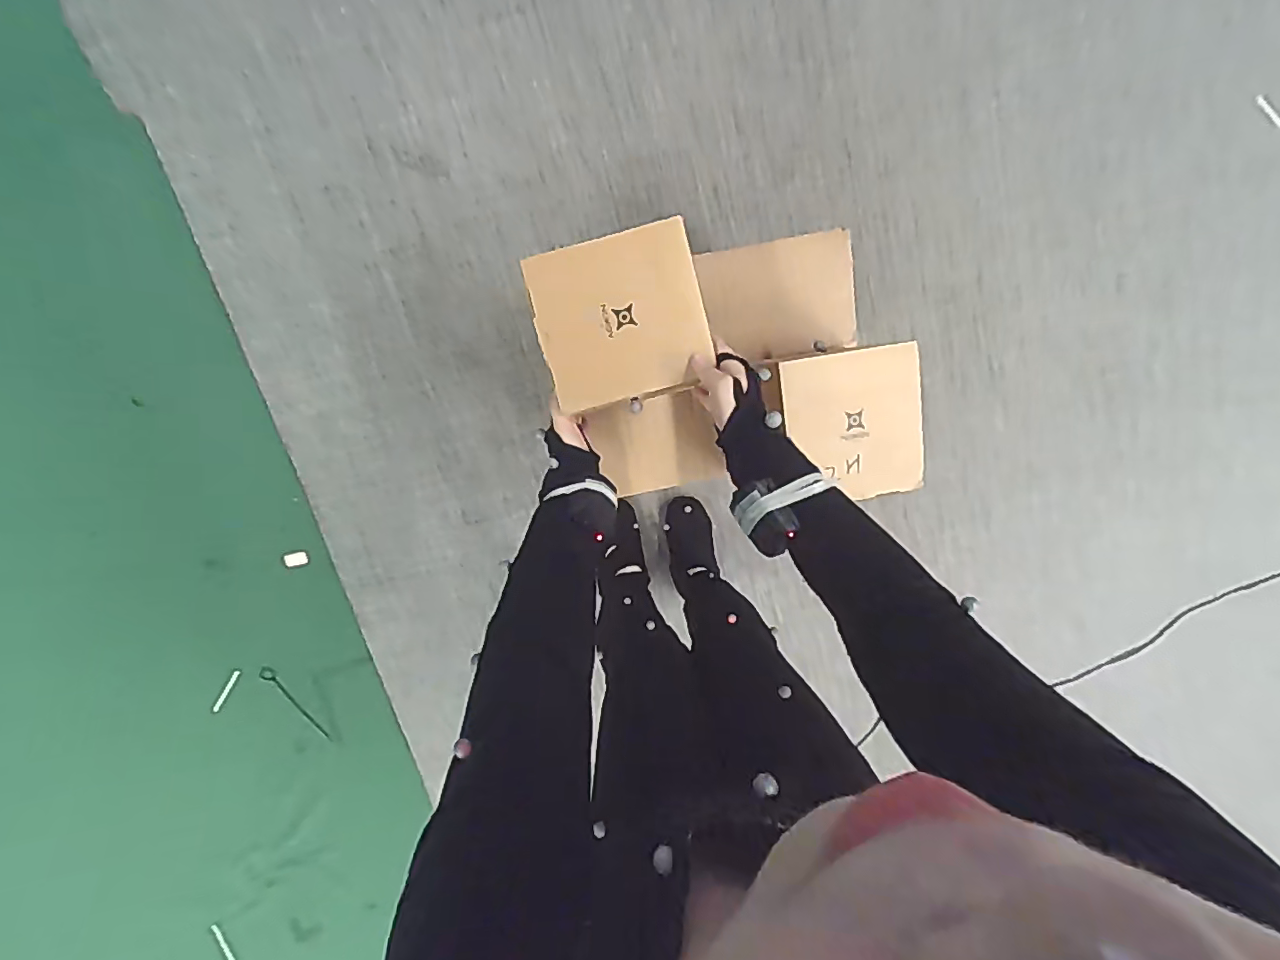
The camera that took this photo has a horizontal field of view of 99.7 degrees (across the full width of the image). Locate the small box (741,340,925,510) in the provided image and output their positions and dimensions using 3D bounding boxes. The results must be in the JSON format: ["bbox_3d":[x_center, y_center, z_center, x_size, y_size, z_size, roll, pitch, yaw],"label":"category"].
[{"bbox_3d":[0.235,-0.074,0.693,0.168,0.176,0.179,-9,101,-4],"label":"small box"}]
